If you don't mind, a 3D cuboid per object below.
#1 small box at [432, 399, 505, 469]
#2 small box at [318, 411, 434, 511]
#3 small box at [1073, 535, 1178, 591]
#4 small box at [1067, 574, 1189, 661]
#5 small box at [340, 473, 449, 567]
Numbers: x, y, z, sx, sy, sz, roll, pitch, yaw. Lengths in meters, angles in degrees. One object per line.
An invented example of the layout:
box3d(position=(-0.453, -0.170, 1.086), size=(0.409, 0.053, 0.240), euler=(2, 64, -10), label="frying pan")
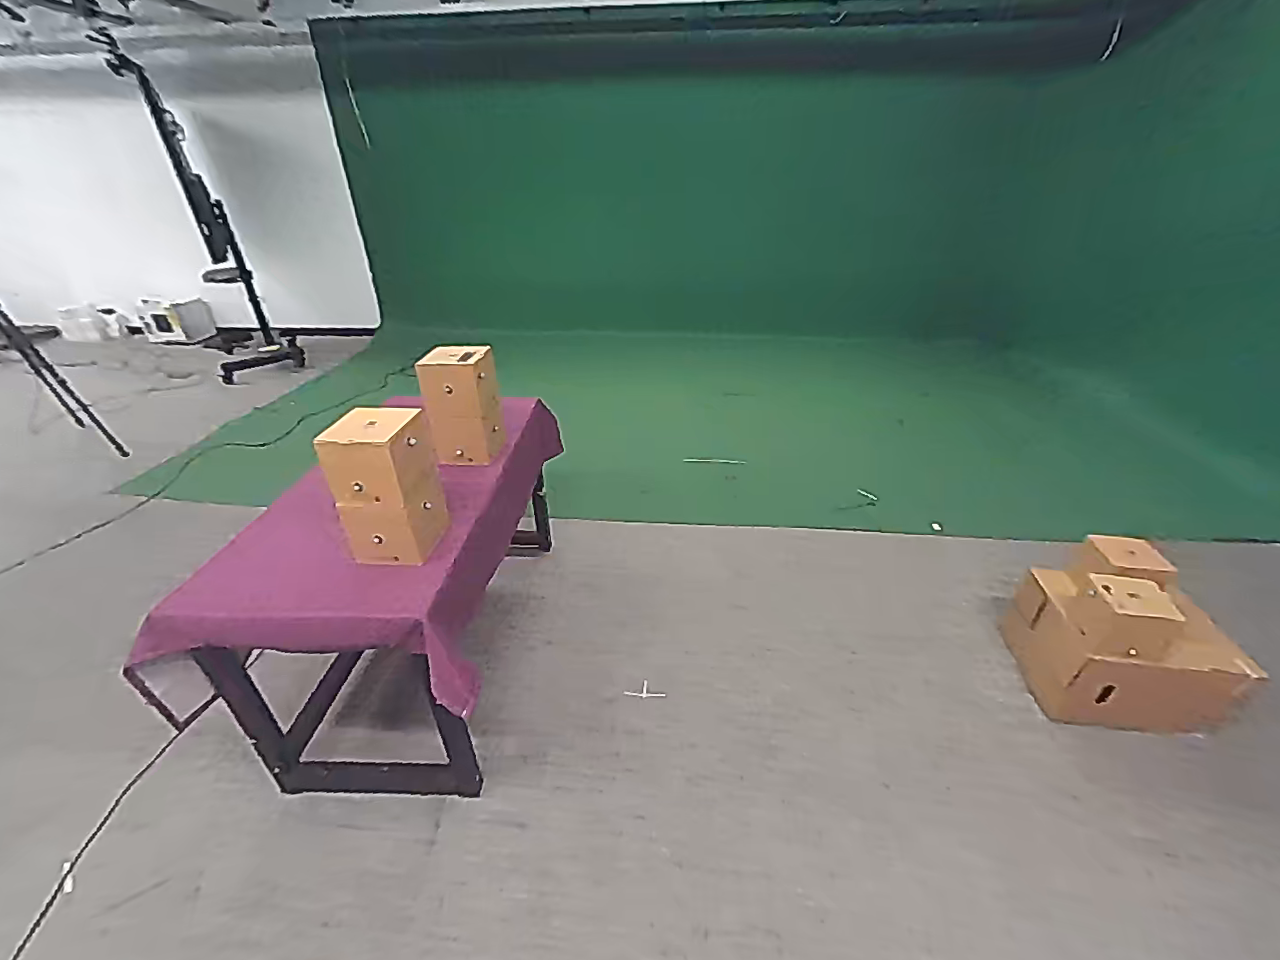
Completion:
box3d(position=(-0.543, -0.151, 1.741), size=(0.168, 0.176, 0.179), euler=(1, 32, 5), label="small box")
box3d(position=(-0.593, -0.047, 1.245), size=(0.168, 0.176, 0.179), euler=(1, 32, 5), label="small box")
box3d(position=(1.538, 0.299, 1.734), size=(0.179, 0.176, 0.168), euler=(5, 31, 7), label="small box")
box3d(position=(1.395, 0.398, 1.561), size=(0.179, 0.176, 0.168), euler=(6, 32, 9), label="small box")
box3d(position=(-0.588, 0.096, 1.325), size=(0.168, 0.176, 0.179), euler=(2, 31, 5), label="small box")
